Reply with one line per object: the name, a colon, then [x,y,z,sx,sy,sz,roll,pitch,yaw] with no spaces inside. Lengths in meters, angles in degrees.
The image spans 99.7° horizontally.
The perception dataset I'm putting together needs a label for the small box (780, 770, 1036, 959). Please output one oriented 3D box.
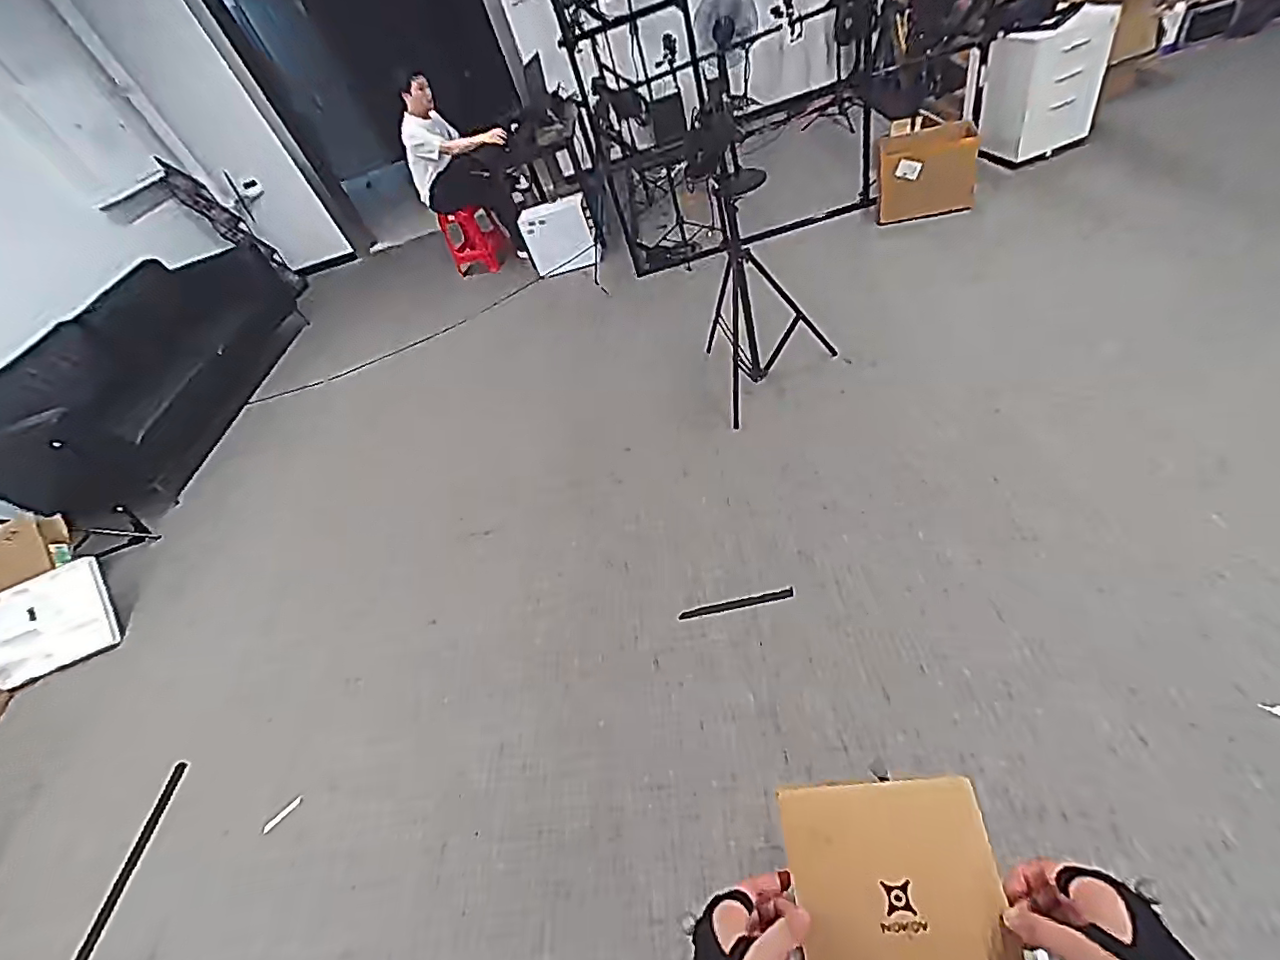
small box: [0.229,0.373,0.502,0.168,0.176,0.179,-9,63,8]
